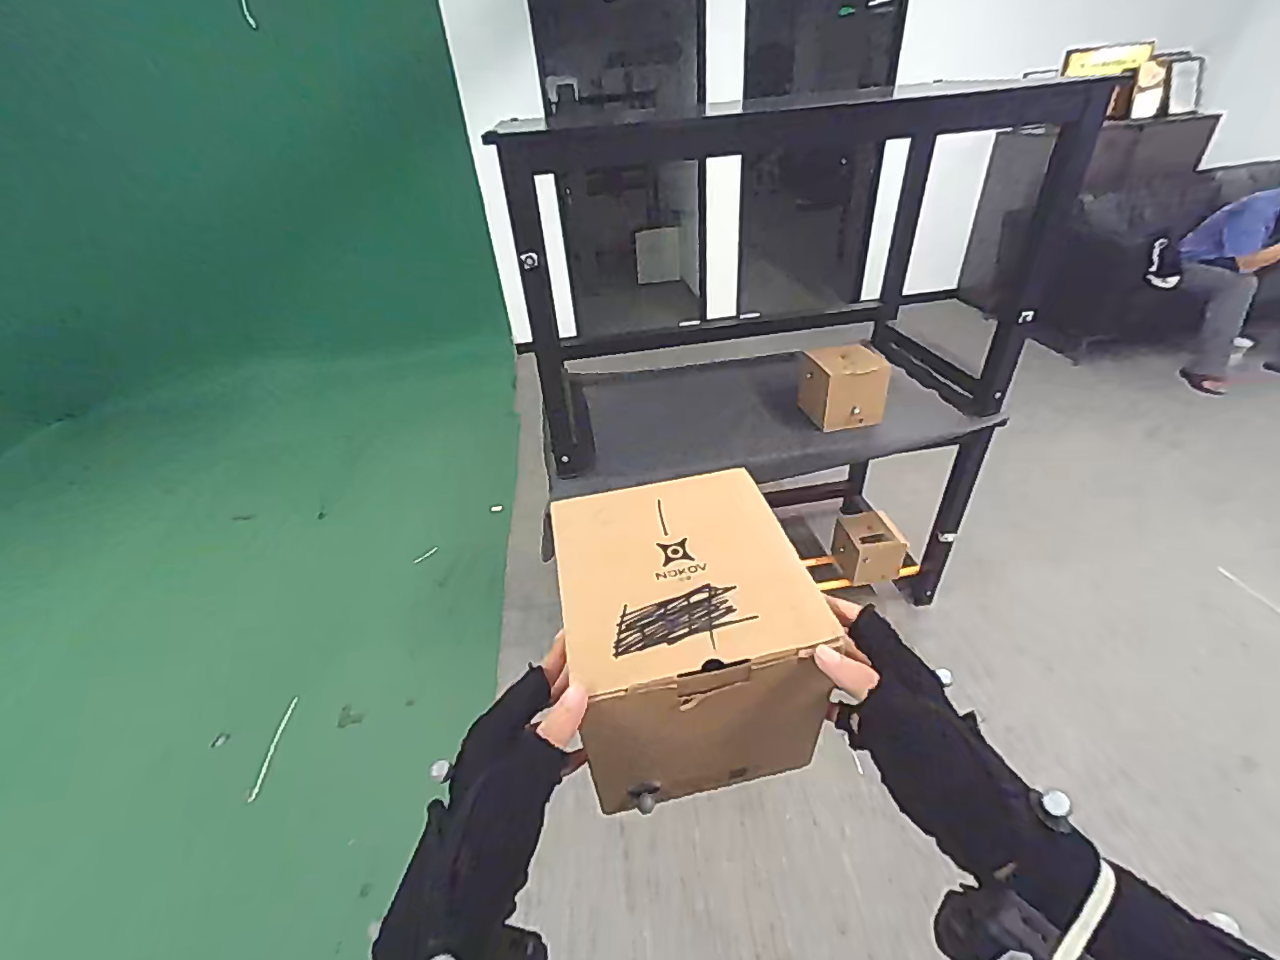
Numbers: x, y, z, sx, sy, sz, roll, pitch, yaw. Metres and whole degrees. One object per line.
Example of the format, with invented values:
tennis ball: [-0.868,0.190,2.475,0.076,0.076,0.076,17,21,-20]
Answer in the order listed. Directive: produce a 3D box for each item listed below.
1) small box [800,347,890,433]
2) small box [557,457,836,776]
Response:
small box: [0.550,-0.247,1.482,0.168,0.176,0.179,-9,34,-5]
small box: [0.032,0.109,0.430,0.168,0.176,0.179,-9,37,-7]
